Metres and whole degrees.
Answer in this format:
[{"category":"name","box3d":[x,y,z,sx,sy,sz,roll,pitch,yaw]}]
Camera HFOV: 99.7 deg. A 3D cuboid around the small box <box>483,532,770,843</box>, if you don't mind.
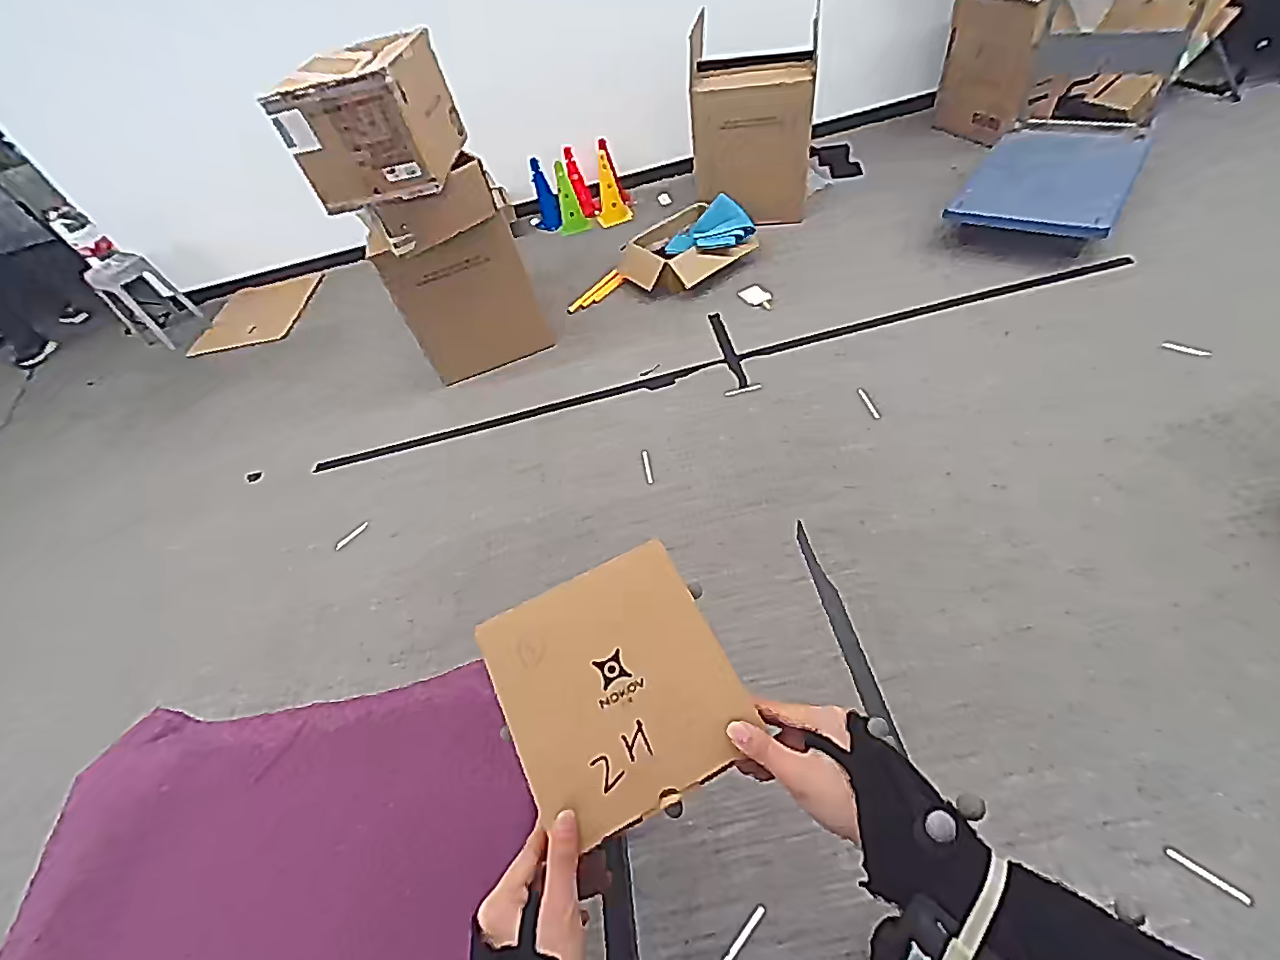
[{"category":"small box","box3d":[-0.014,0.180,0.474,0.168,0.176,0.179,-25,63,-10]}]
